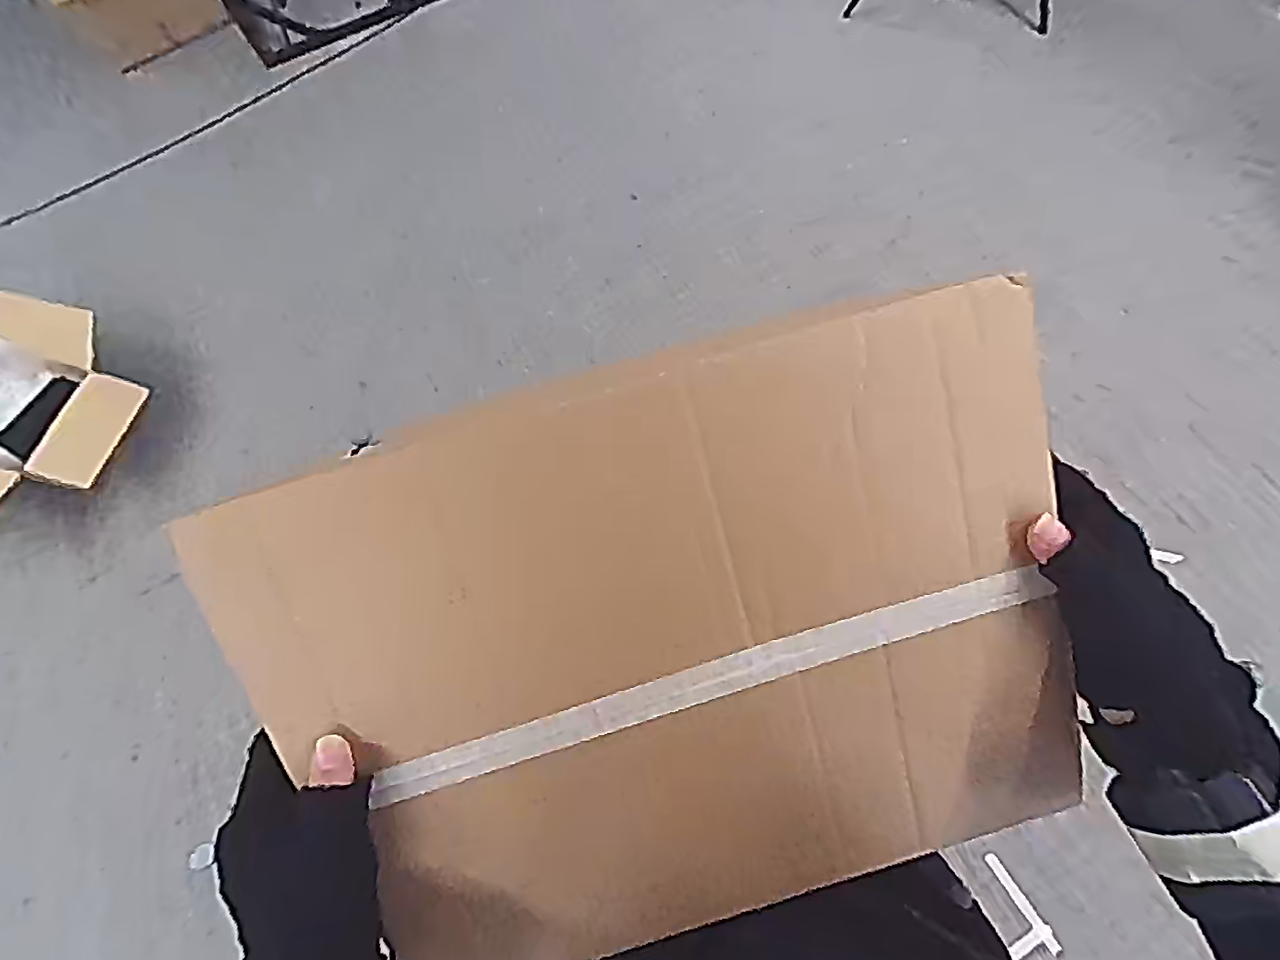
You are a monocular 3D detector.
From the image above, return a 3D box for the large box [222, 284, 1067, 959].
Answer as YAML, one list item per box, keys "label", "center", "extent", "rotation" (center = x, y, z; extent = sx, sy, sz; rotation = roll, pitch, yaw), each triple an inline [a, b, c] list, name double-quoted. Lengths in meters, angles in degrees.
- label: "large box"
  center: [0.017, 0.072, 0.435]
  extent: [0.408, 0.320, 0.320]
  rotation: [-17, 105, -1]
